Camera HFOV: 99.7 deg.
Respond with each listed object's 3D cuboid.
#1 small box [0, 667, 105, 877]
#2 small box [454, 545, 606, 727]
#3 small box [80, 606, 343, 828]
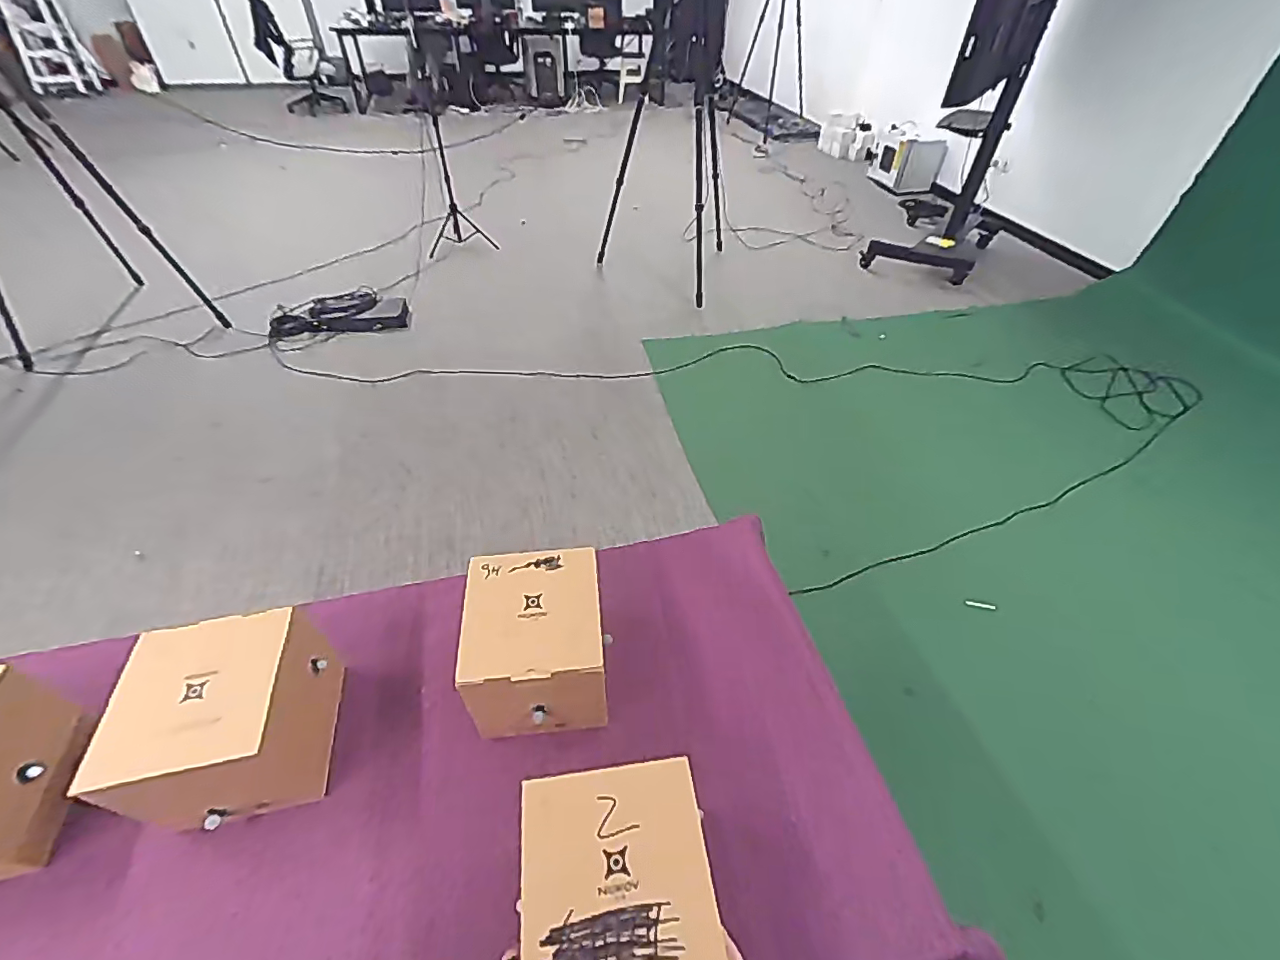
[{"bbox_3d":[-0.756,0.330,0.588,0.179,0.176,0.168,-8,46,-10],"label":"small box"},{"bbox_3d":[-0.135,0.211,0.717,0.168,0.176,0.179,-4,46,-5],"label":"small box"},{"bbox_3d":[-0.478,0.281,0.645,0.168,0.176,0.179,-9,47,-9],"label":"small box"}]
